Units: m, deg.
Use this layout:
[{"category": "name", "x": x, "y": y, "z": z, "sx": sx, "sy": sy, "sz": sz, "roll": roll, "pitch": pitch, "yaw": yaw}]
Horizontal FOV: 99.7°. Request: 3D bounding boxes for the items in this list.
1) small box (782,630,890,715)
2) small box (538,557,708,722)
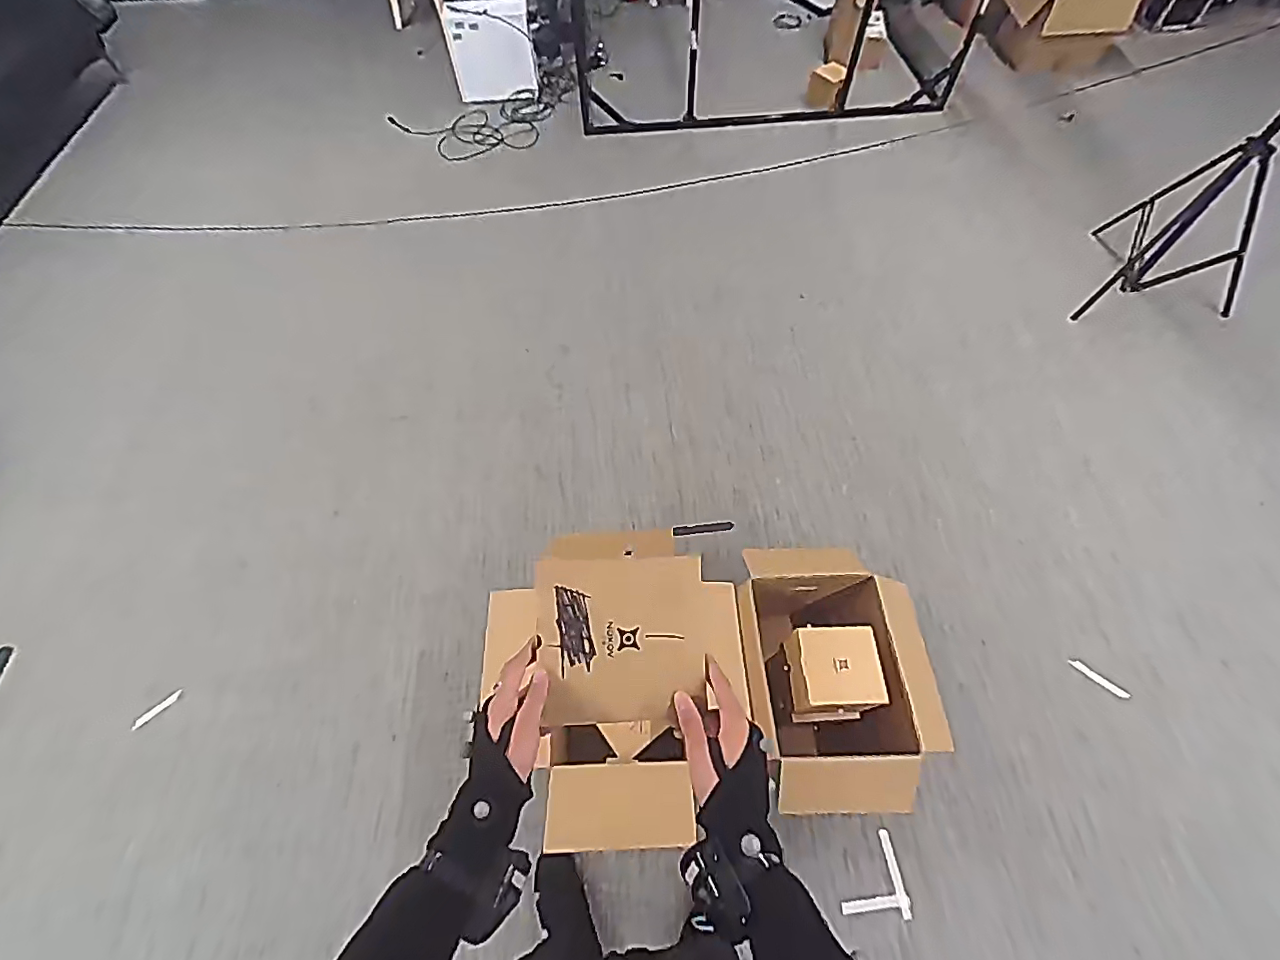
[{"category": "small box", "x": 0.446, "y": 0.450, "z": 1.257, "sx": 0.179, "sy": 0.176, "sz": 0.168, "roll": -2, "pitch": 61, "yaw": 0}, {"category": "small box", "x": -0.016, "y": 0.176, "z": 0.636, "sx": 0.179, "sy": 0.176, "sz": 0.168, "roll": -2, "pitch": 82, "yaw": 1}]
